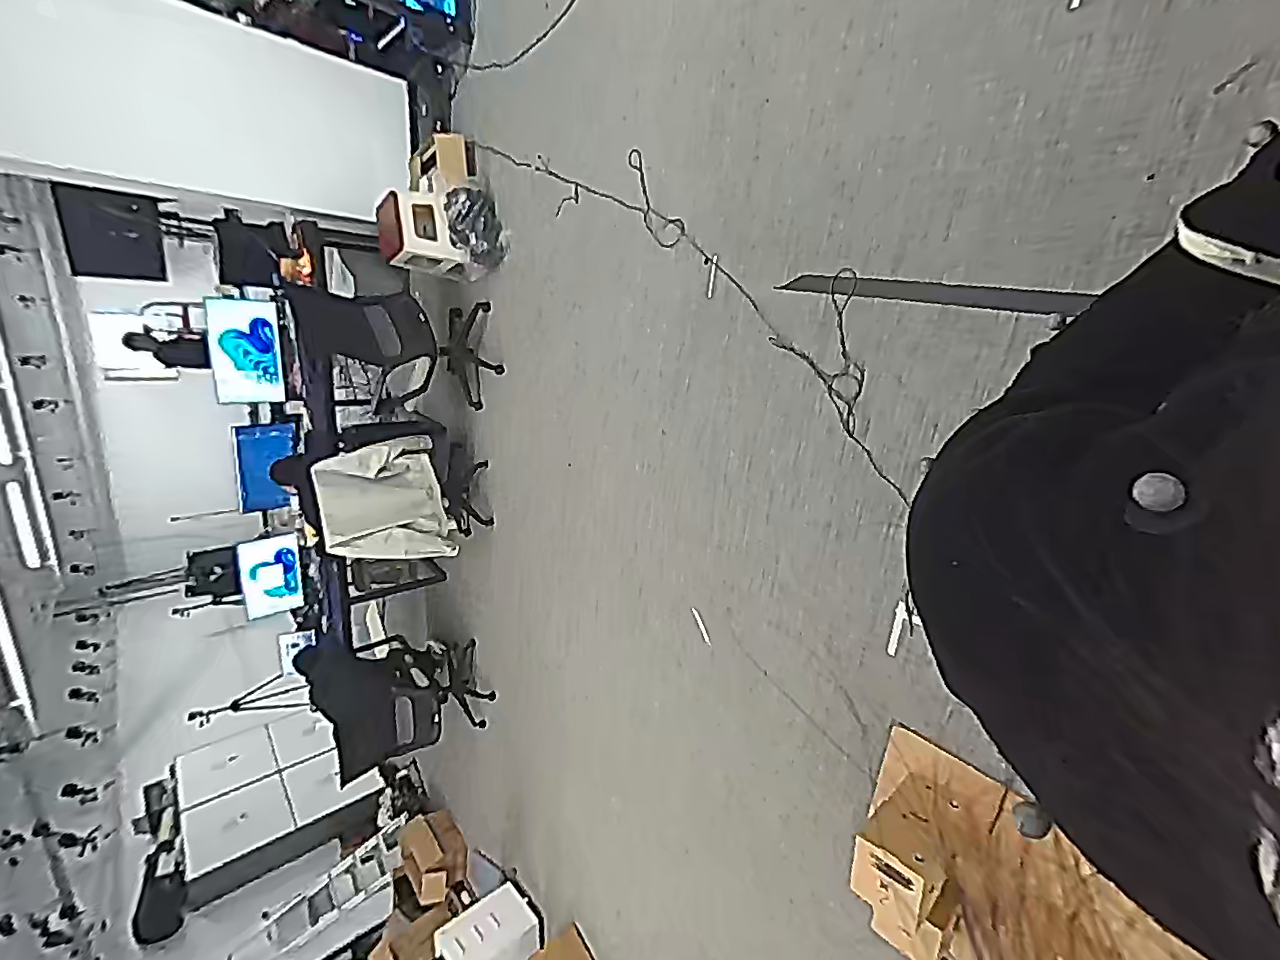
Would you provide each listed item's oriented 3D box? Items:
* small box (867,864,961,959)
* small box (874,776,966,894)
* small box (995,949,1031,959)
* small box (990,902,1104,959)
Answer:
[{"bbox_3d":[0.780,1.221,1.539,0.179,0.176,0.168,17,112,45],"label":"small box"},{"bbox_3d":[0.774,0.964,1.489,0.168,0.176,0.179,18,111,45],"label":"small box"},{"bbox_3d":[0.855,1.202,1.197,0.179,0.176,0.168,28,118,40],"label":"small box"},{"bbox_3d":[0.975,1.177,1.308,0.179,0.176,0.168,26,117,41],"label":"small box"}]
